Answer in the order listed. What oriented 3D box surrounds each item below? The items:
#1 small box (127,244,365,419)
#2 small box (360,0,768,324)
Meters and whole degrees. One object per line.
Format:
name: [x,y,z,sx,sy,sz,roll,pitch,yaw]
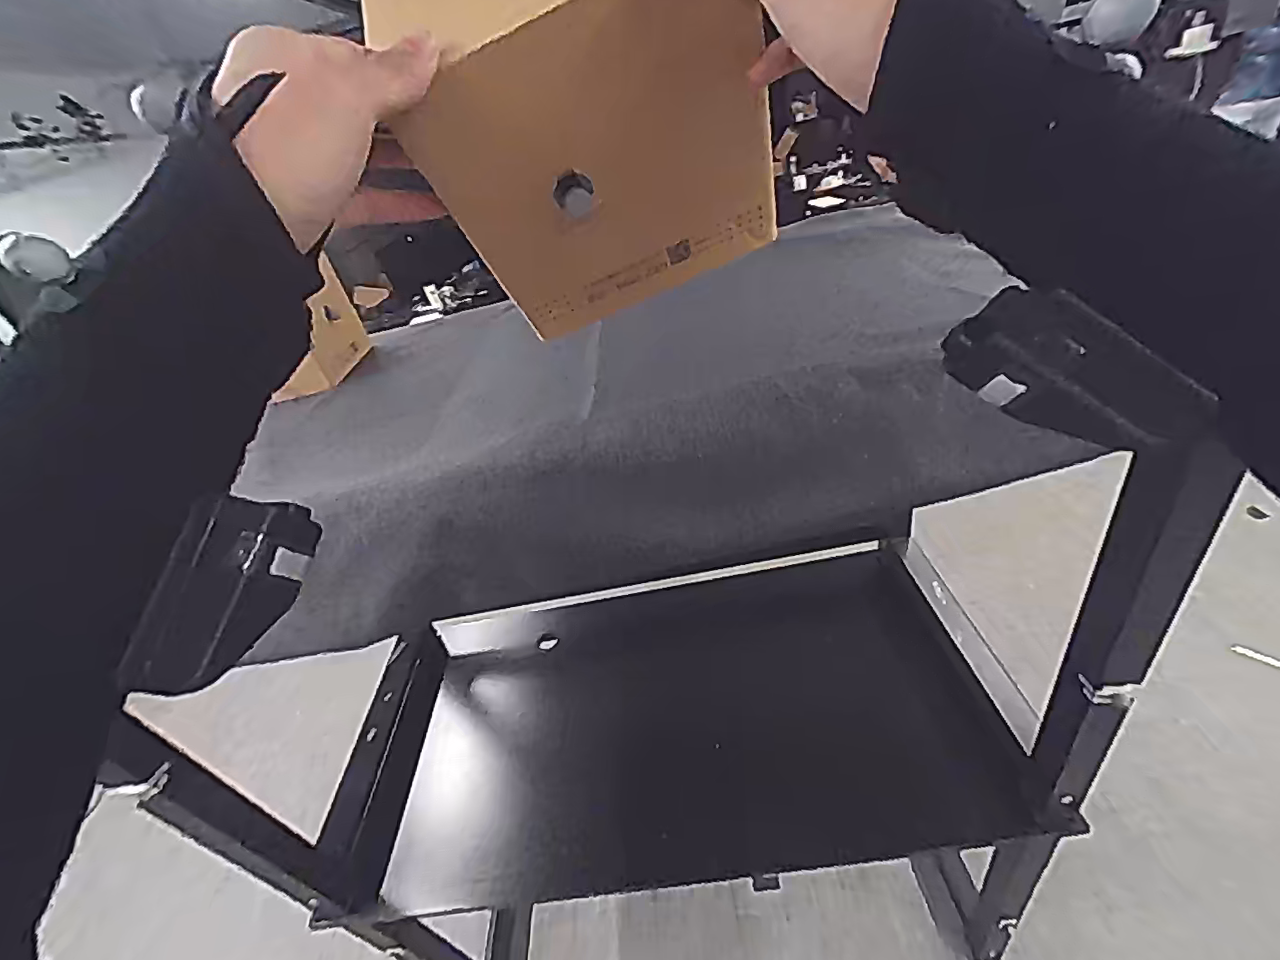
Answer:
small box: [-0.522,-0.207,0.754,0.179,0.176,0.168,-12,35,3]
small box: [-0.034,-0.218,0.317,0.168,0.176,0.179,-21,62,7]
